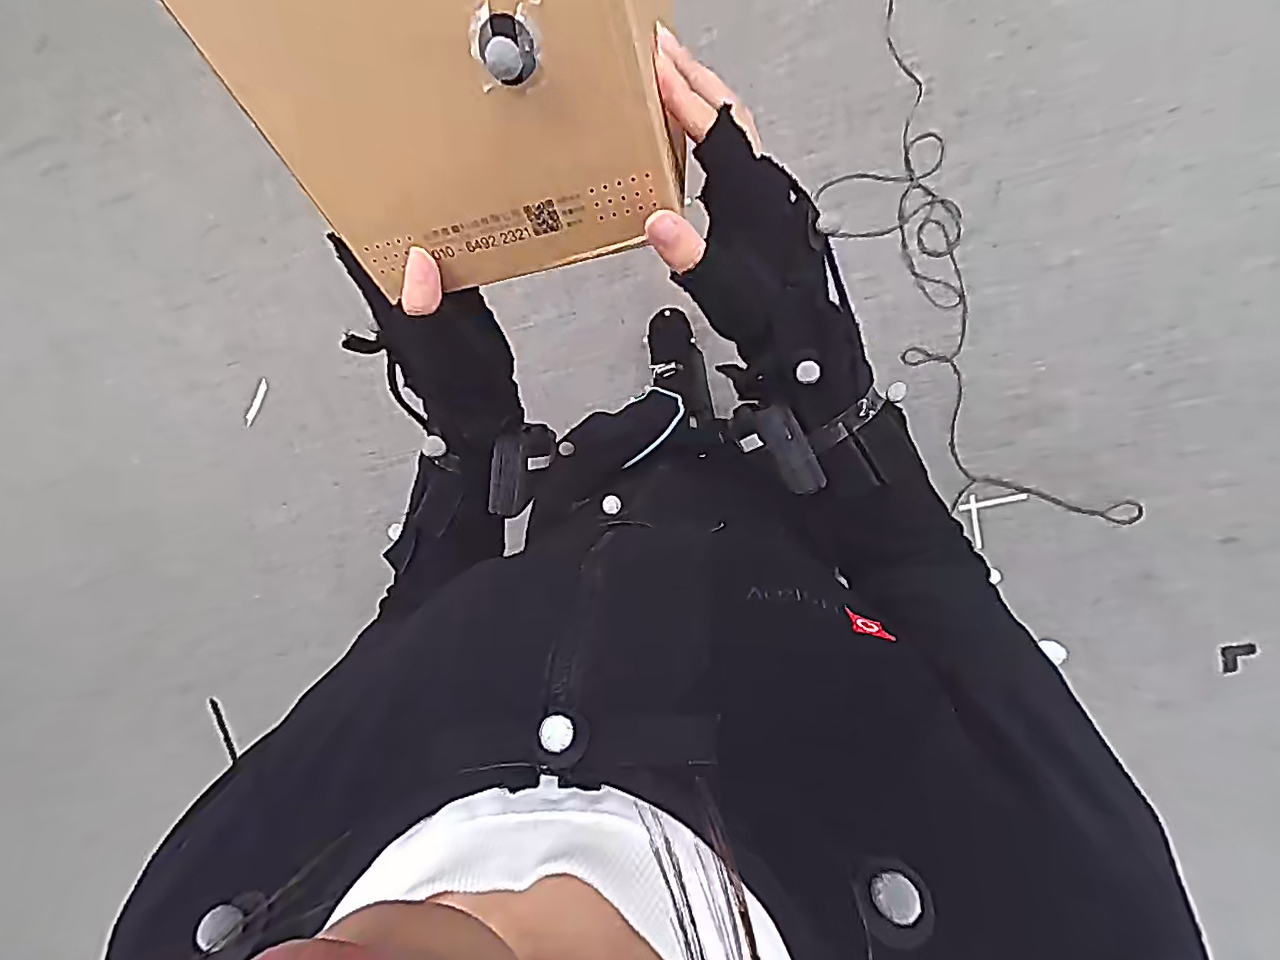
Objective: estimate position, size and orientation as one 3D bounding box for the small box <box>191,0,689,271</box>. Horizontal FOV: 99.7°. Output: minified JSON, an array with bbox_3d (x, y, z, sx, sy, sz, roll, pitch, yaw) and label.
[{"bbox_3d":[-0.073,-0.230,0.281,0.168,0.179,0.176,-5,142,16],"label":"small box"}]
